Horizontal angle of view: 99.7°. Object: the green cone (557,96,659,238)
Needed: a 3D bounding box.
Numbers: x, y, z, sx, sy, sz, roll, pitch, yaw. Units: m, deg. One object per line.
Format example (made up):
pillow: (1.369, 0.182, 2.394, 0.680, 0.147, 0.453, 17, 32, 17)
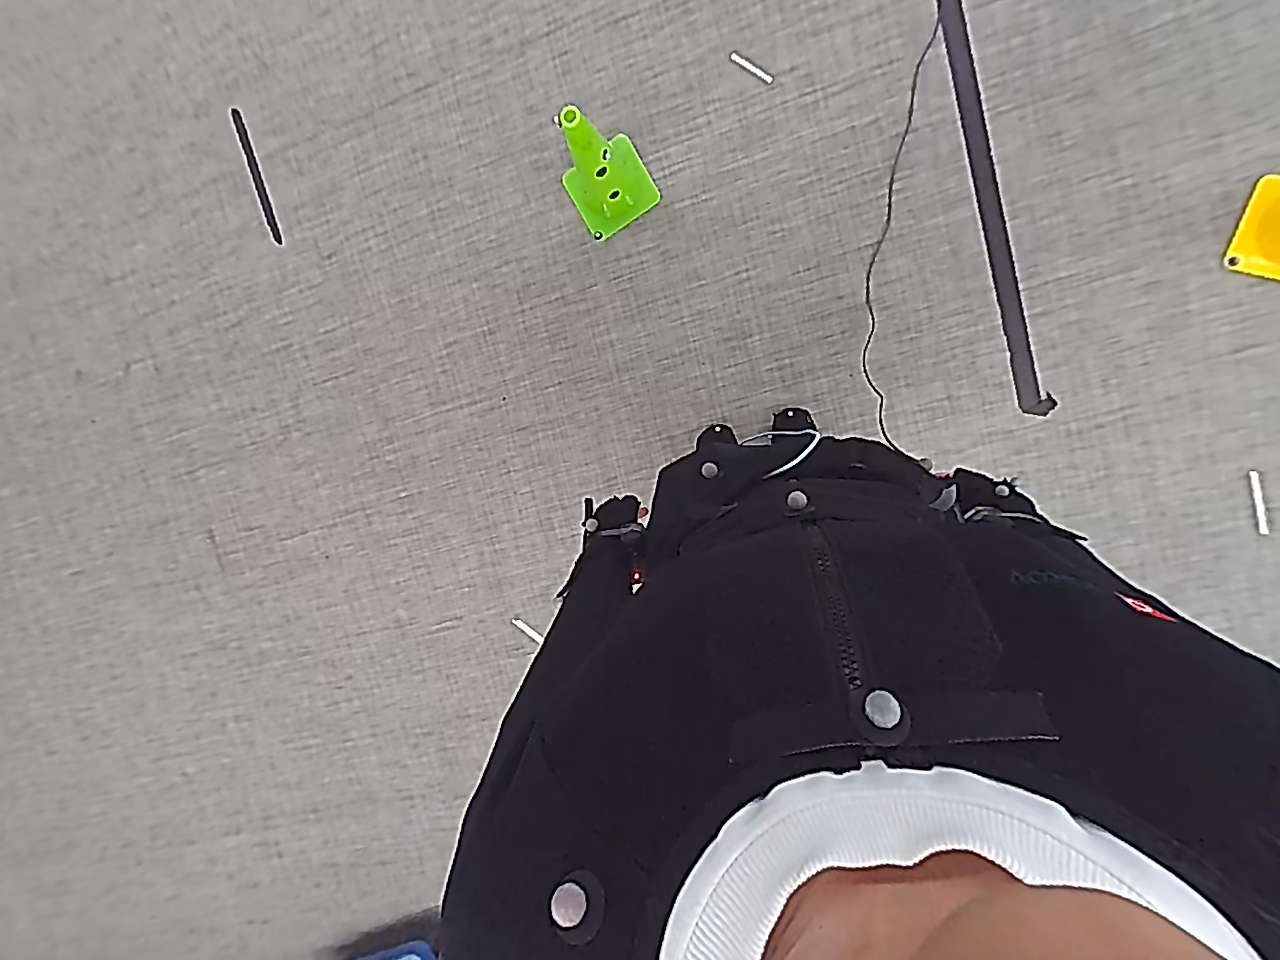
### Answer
green cone: (-0.105, -0.736, 1.217, 0.200, 0.368, 0.202, -31, 90, 11)
